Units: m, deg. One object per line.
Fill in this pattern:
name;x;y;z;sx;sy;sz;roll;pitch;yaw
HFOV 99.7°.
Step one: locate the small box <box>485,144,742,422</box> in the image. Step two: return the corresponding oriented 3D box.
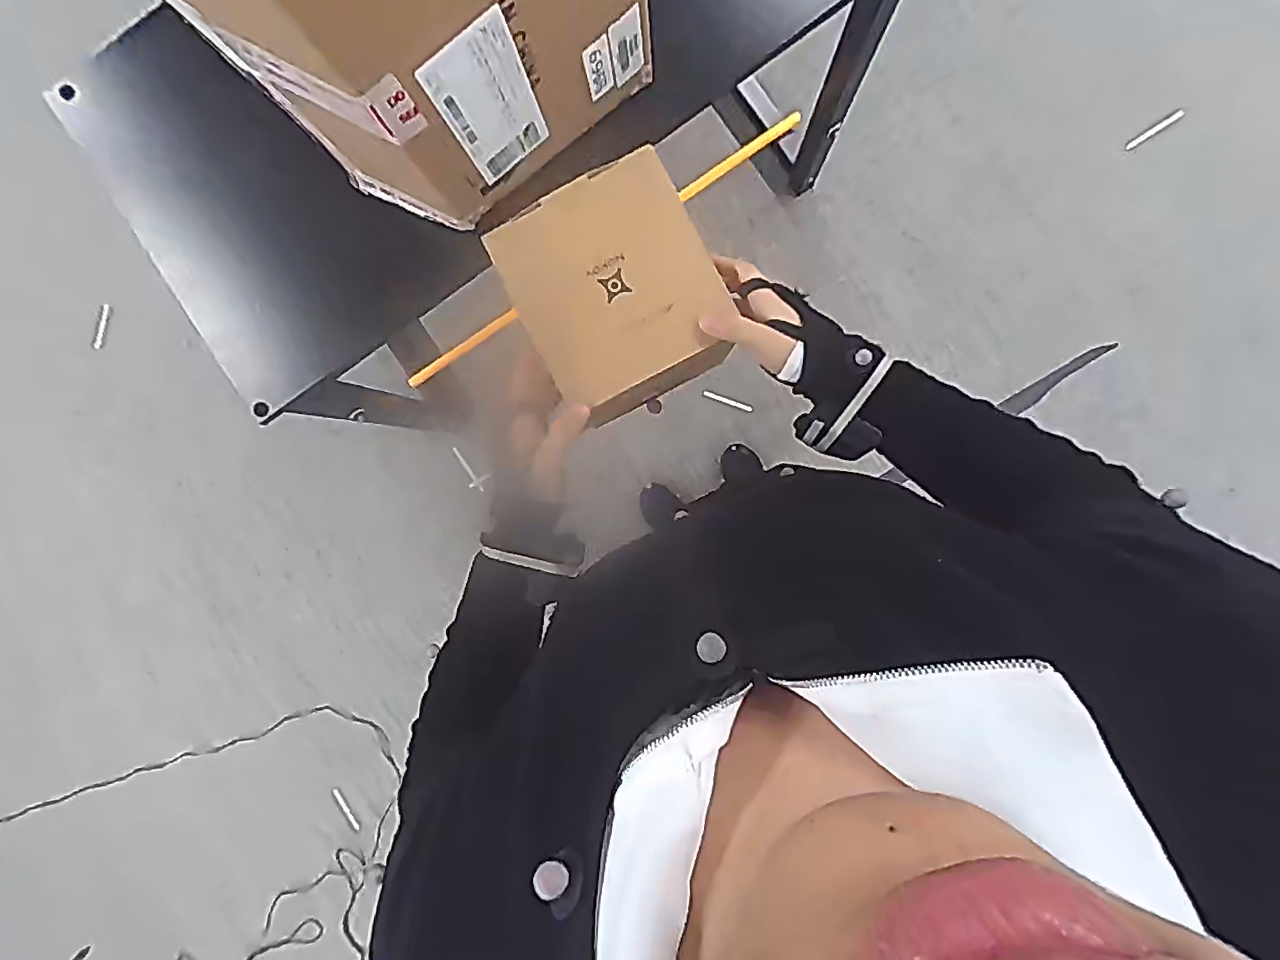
small box;-0.022;-0.172;0.534;0.168;0.176;0.179;-27;91;3
